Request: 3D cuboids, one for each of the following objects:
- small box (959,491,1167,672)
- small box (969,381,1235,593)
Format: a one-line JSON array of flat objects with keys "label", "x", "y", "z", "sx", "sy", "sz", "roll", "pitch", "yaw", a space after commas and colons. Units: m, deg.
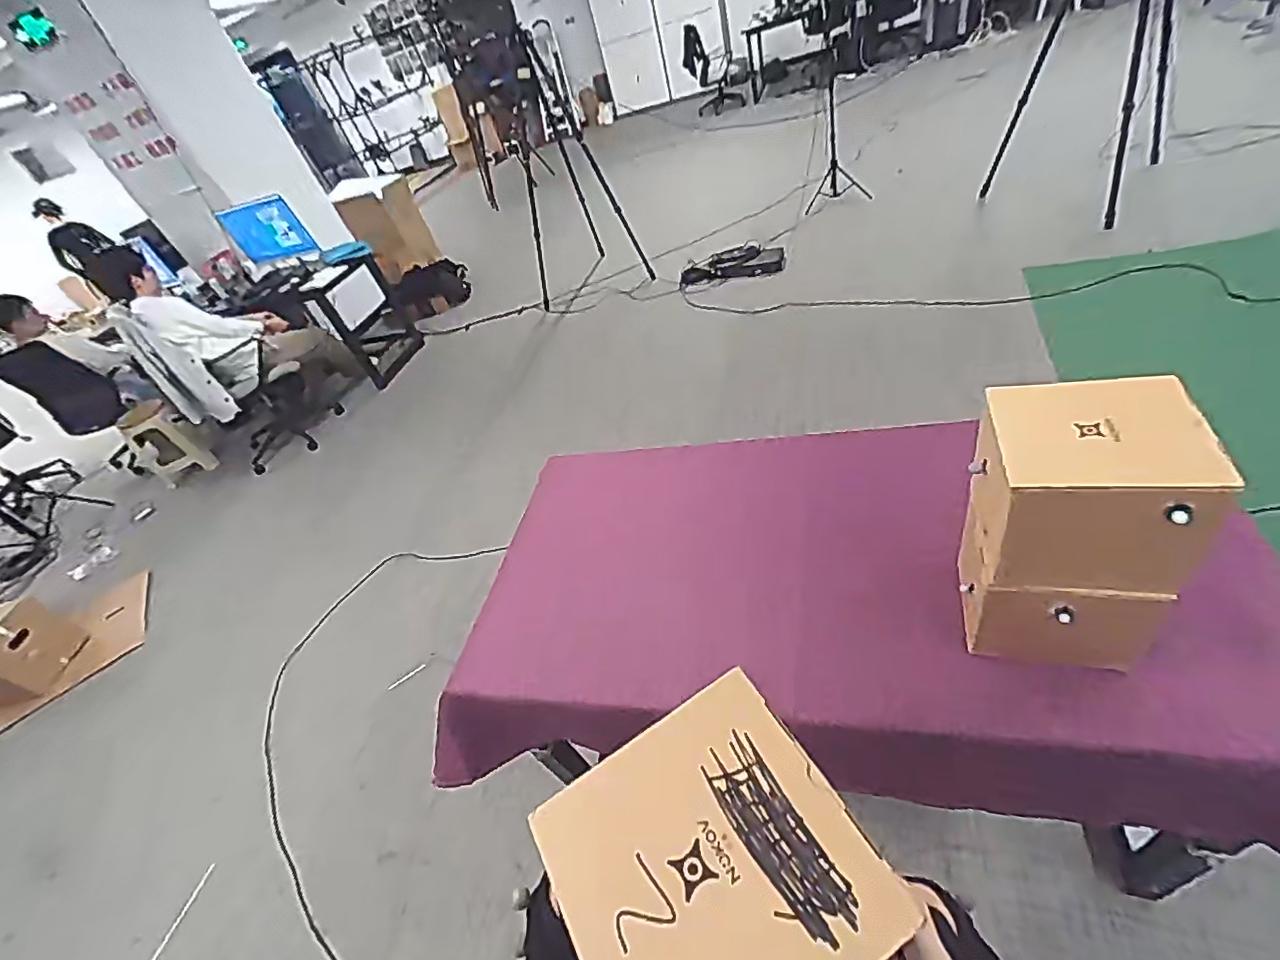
[{"label": "small box", "x": 0.524, "y": 0.129, "z": 0.705, "sx": 0.179, "sy": 0.176, "sz": 0.168, "roll": 1, "pitch": 46, "yaw": 24}, {"label": "small box", "x": 0.480, "y": 0.011, "z": 0.603, "sx": 0.179, "sy": 0.176, "sz": 0.168, "roll": -1, "pitch": 45, "yaw": 22}]
